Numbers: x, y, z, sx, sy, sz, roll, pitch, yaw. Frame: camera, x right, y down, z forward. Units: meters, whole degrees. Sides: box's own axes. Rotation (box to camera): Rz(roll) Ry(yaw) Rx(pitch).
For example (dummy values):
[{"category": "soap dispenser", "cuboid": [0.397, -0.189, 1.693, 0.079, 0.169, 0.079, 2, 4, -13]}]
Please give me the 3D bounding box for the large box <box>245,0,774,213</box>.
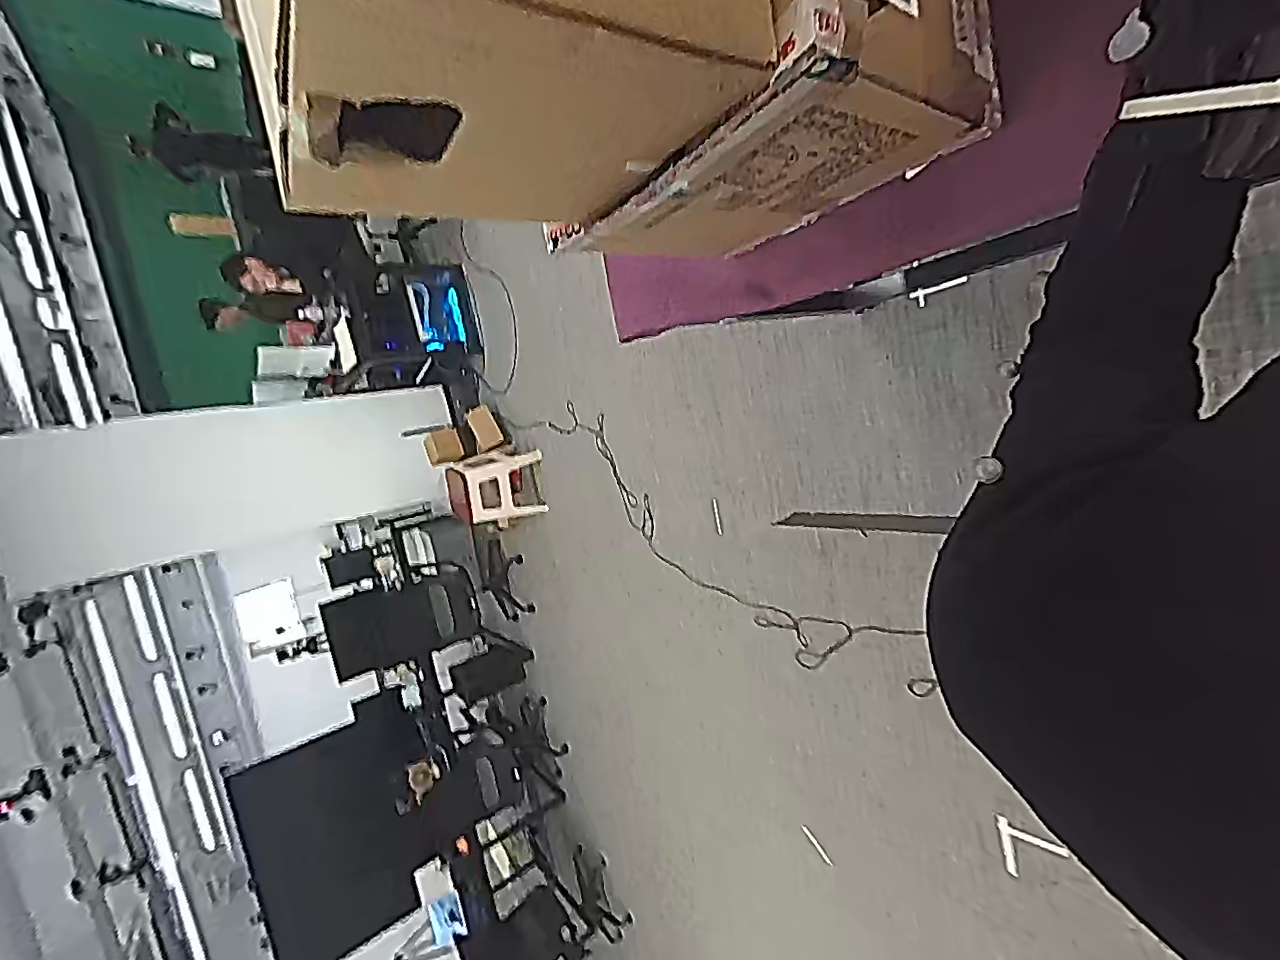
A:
[{"category": "large box", "cuboid": [-0.139, -0.474, 0.416, 0.320, 0.320, 0.408, 1, 104, 58]}]
